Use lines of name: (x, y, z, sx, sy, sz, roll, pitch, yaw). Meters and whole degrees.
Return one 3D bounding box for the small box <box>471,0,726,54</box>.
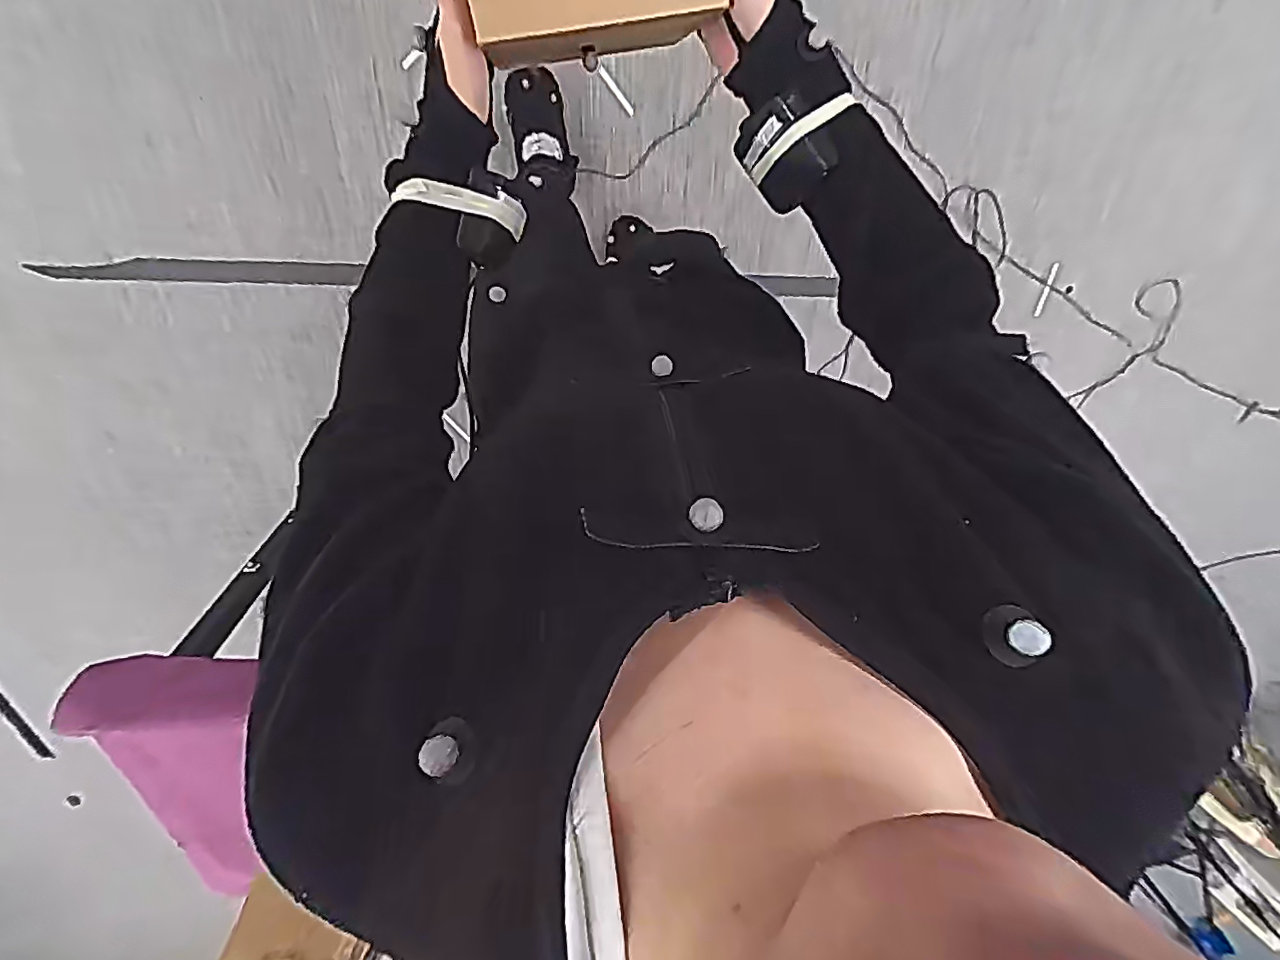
small box: (-0.042, -0.407, 0.362, 0.168, 0.176, 0.179, -11, 123, -3)
